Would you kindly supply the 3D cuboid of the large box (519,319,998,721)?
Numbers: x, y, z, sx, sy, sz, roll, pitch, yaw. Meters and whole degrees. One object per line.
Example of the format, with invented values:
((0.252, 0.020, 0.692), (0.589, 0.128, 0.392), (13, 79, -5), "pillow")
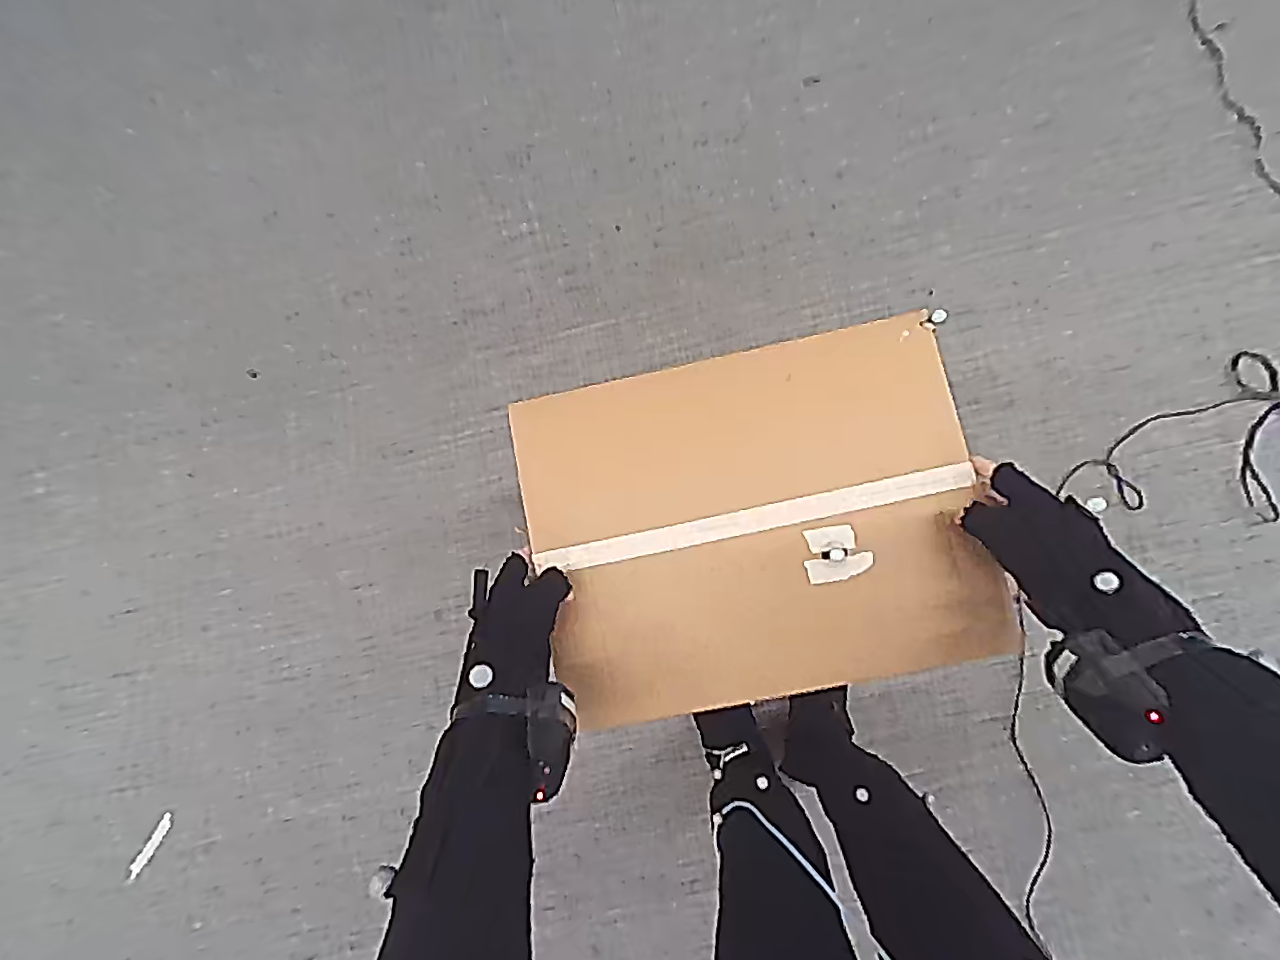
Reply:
((0.111, 0.053, 0.664), (0.408, 0.320, 0.320), (-13, 84, 3), "large box")
